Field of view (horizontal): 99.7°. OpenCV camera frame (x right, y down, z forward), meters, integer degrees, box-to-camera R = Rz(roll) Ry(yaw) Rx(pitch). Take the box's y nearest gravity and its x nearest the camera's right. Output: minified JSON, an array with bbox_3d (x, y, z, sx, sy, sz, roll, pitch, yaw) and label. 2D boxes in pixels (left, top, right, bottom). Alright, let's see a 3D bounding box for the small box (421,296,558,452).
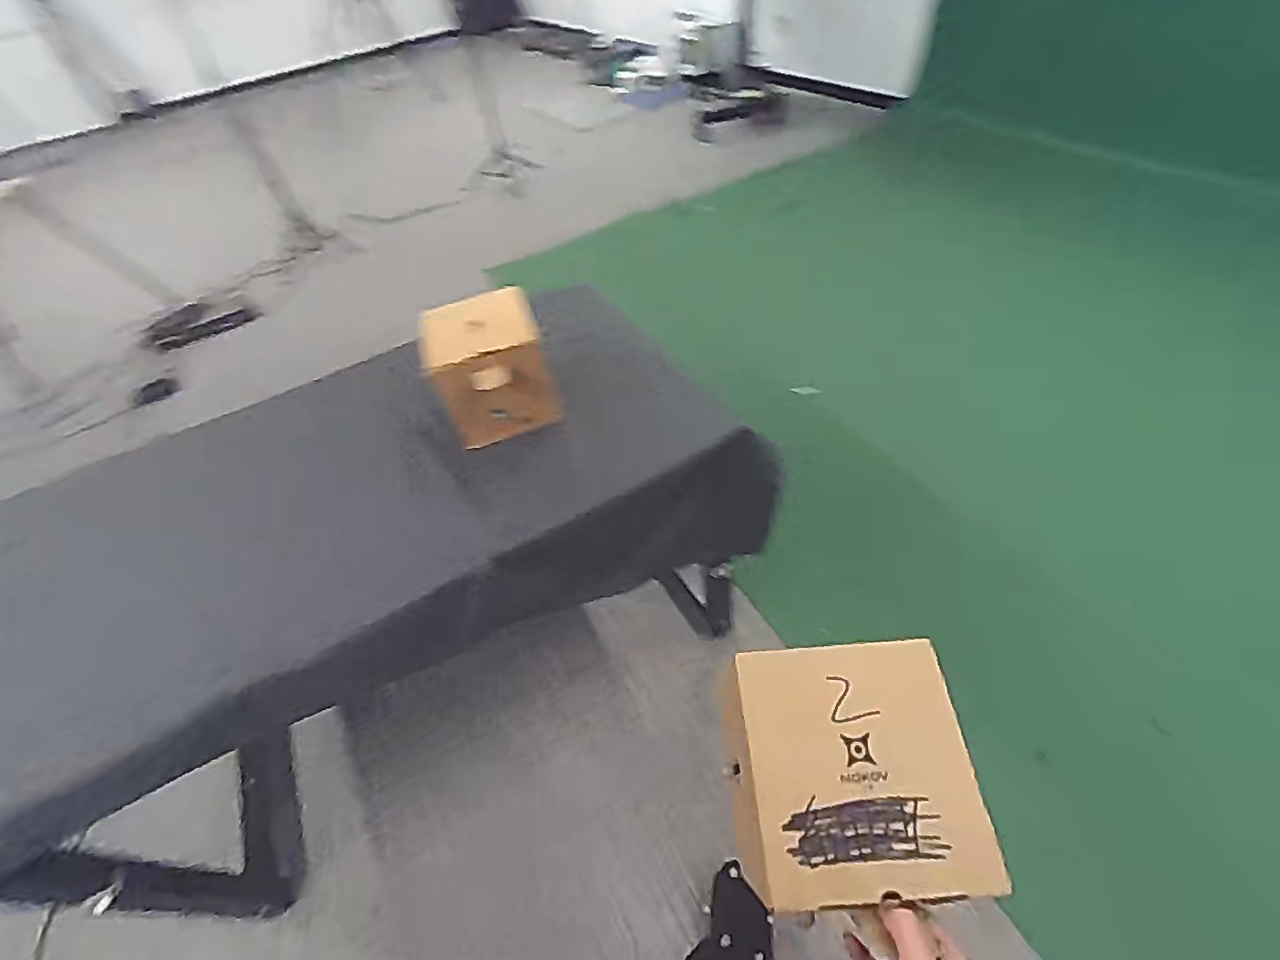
[{"bbox_3d":[-0.251,-0.177,0.910,0.168,0.176,0.179,-20,49,-8],"label":"small box"}]
